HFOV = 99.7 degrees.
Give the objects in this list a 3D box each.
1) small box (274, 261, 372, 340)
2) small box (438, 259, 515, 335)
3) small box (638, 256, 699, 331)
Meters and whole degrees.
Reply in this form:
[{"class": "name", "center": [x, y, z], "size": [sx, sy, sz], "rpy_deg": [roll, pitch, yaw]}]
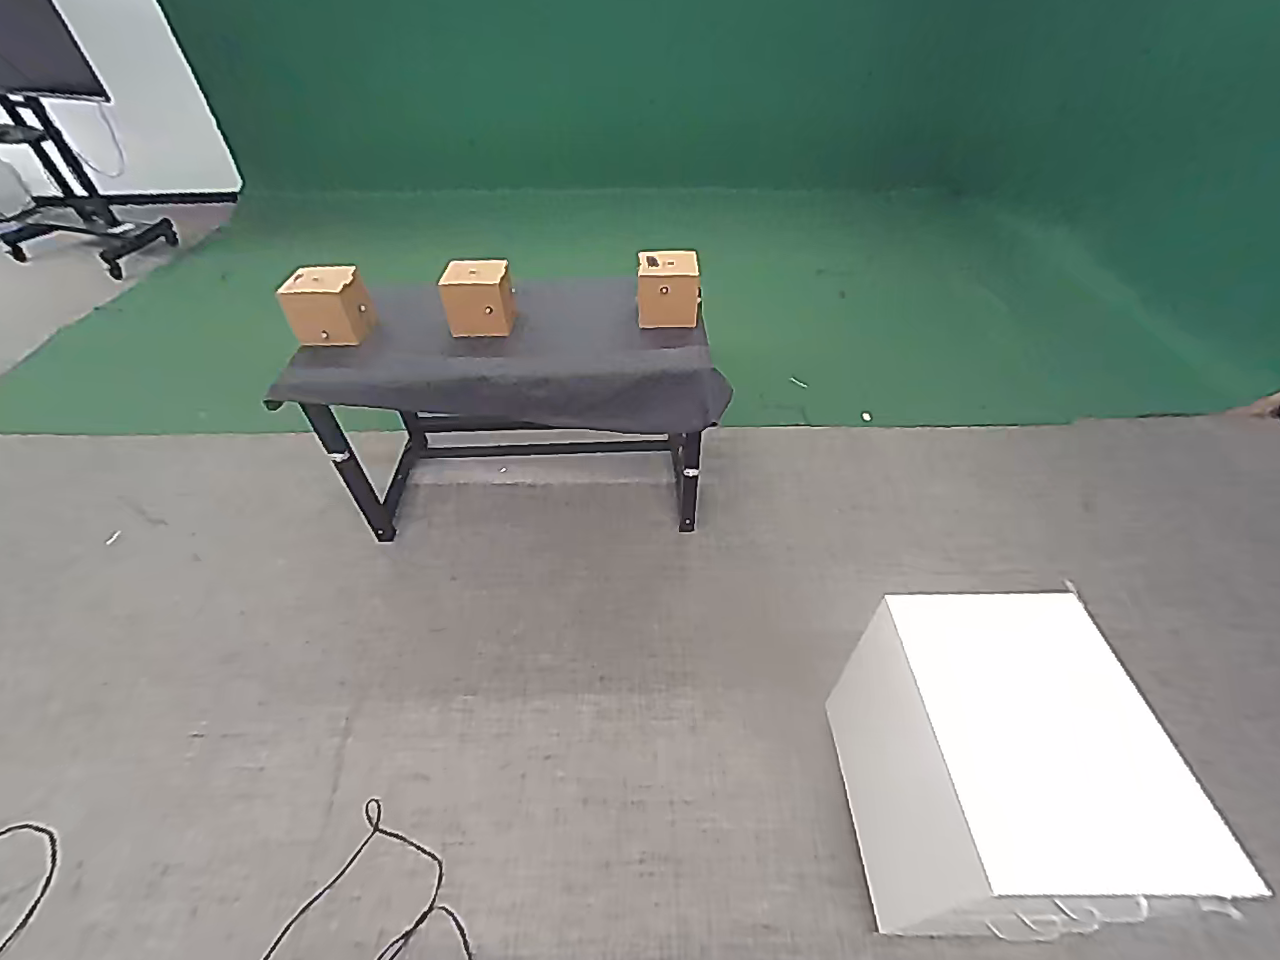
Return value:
[{"class": "small box", "center": [-0.920, -0.525, 1.592], "size": [0.179, 0.176, 0.168], "rpy_deg": [1, 44, -2]}, {"class": "small box", "center": [-0.482, -0.548, 1.628], "size": [0.179, 0.176, 0.168], "rpy_deg": [-1, 43, 0]}, {"class": "small box", "center": [0.083, -0.569, 1.655], "size": [0.179, 0.176, 0.168], "rpy_deg": [1, 45, -1]}]
